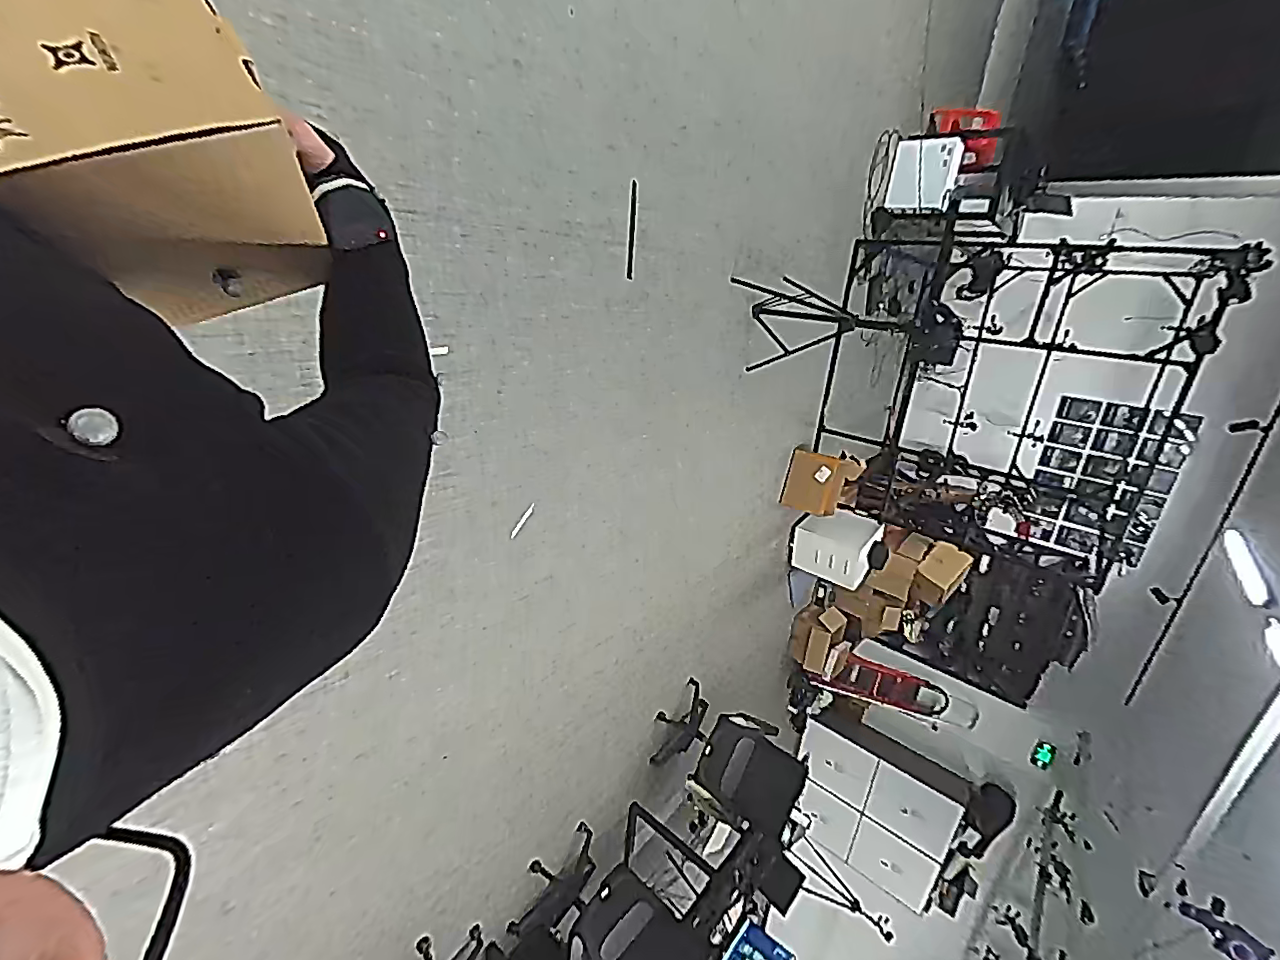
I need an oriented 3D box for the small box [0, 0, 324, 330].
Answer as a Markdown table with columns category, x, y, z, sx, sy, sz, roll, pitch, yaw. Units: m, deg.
| category | x | y | z | sx | sy | sz | roll | pitch | yaw |
| --- | --- | --- | --- | --- | --- | --- | --- | --- | --- |
| small box | -0.392 | -0.258 | 0.448 | 0.179 | 0.168 | 0.176 | -30 | 170 | -23 |
